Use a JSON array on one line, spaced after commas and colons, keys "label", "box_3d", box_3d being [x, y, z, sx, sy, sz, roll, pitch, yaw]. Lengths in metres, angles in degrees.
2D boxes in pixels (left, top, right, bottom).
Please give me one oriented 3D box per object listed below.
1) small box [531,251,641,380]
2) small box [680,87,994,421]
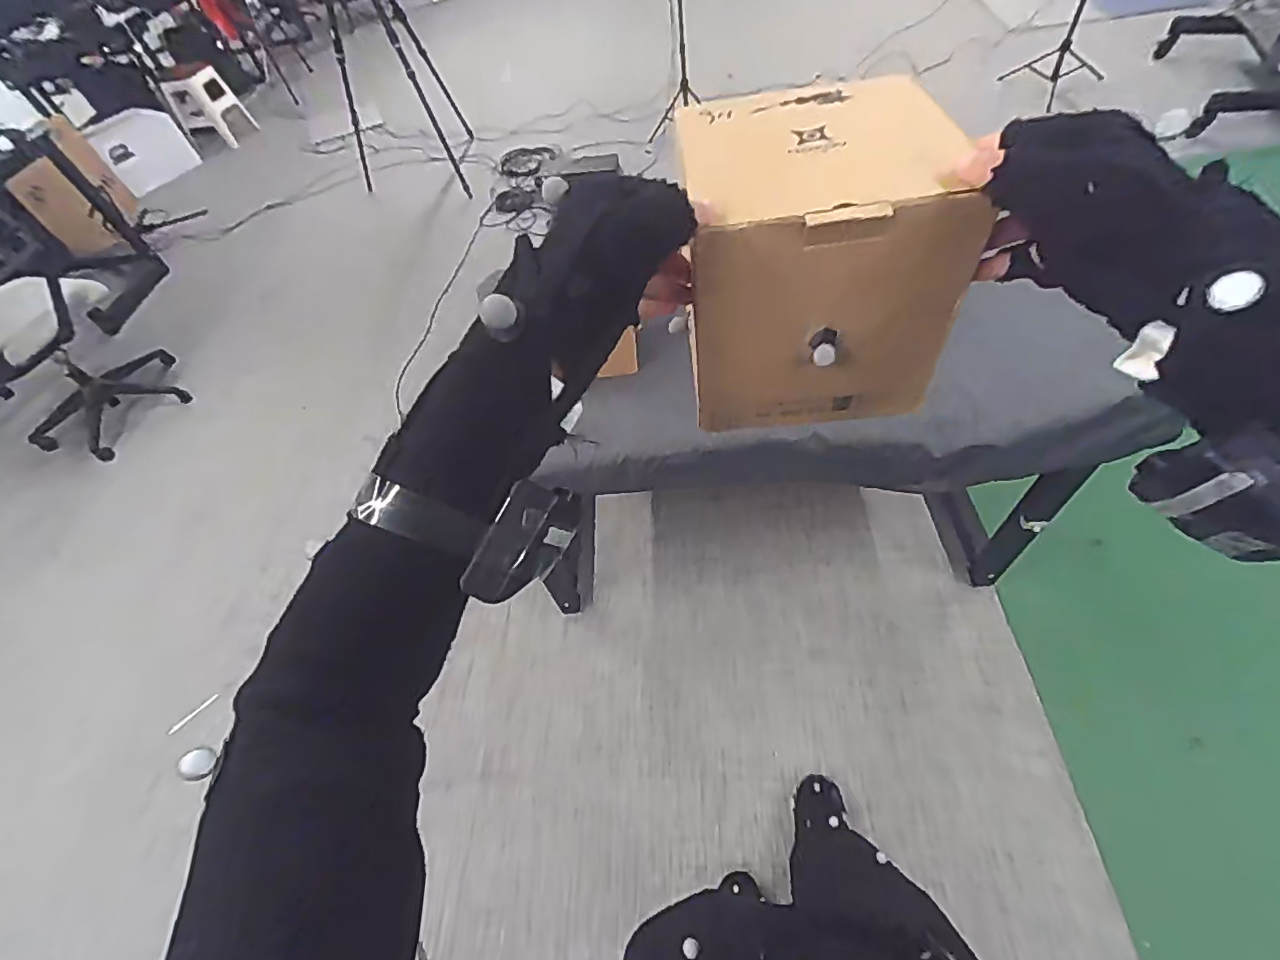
[{"label": "small box", "box_3d": [-0.095, -0.308, 1.037, 0.179, 0.176, 0.168, -6, 54, 4]}, {"label": "small box", "box_3d": [0.120, -0.158, 0.408, 0.168, 0.176, 0.179, -4, 53, 5]}]
